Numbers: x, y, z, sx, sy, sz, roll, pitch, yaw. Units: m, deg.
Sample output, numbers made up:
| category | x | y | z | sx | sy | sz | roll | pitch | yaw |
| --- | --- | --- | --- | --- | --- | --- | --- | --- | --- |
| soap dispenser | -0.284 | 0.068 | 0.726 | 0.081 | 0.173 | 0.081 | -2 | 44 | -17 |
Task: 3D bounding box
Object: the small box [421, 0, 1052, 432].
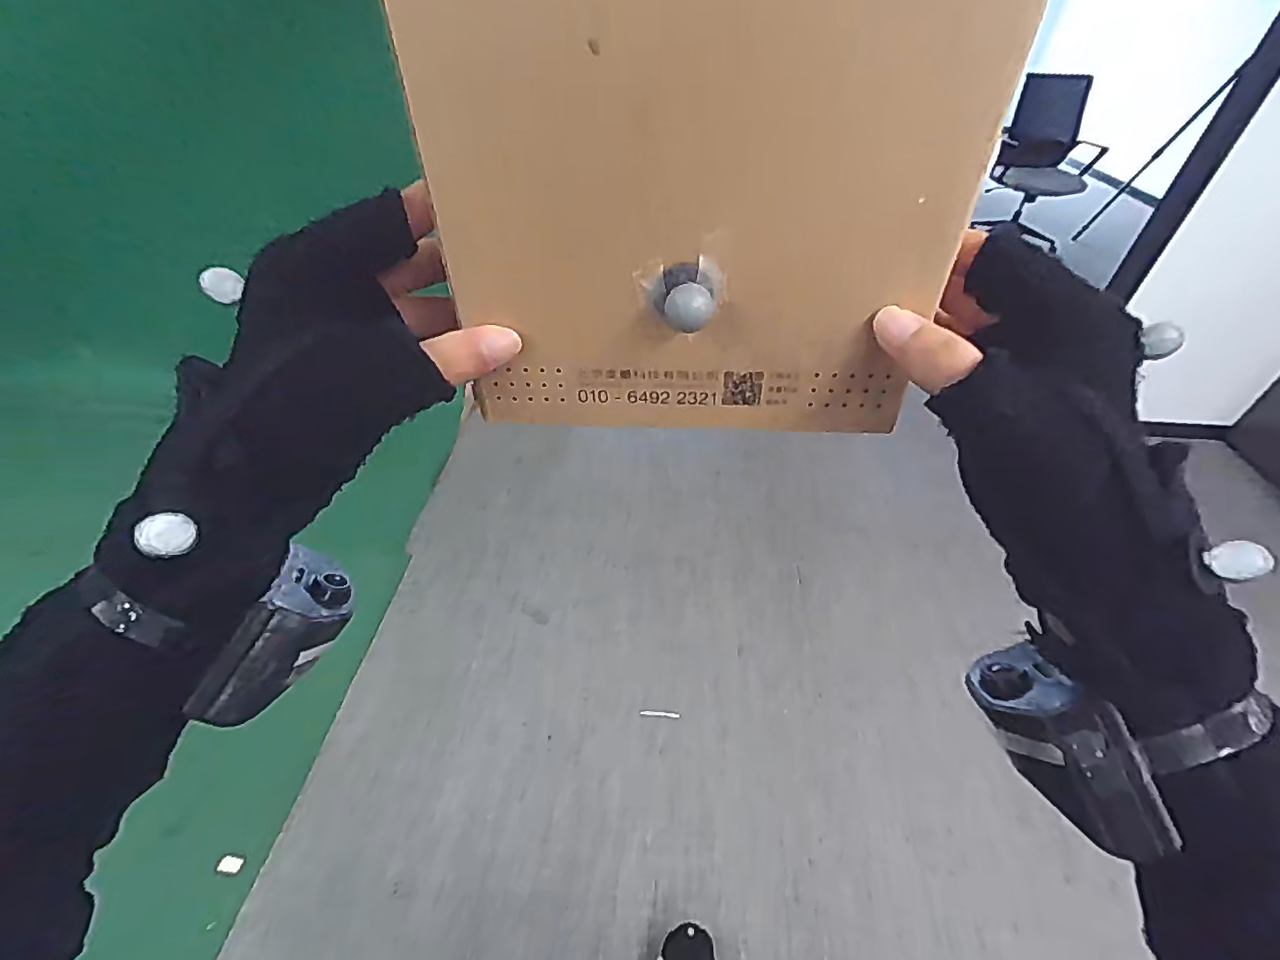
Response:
| category | x | y | z | sx | sy | sz | roll | pitch | yaw |
| --- | --- | --- | --- | --- | --- | --- | --- | --- | --- |
| small box | 0.024 | -0.140 | 0.228 | 0.168 | 0.176 | 0.179 | 1 | 42 | 3 |
